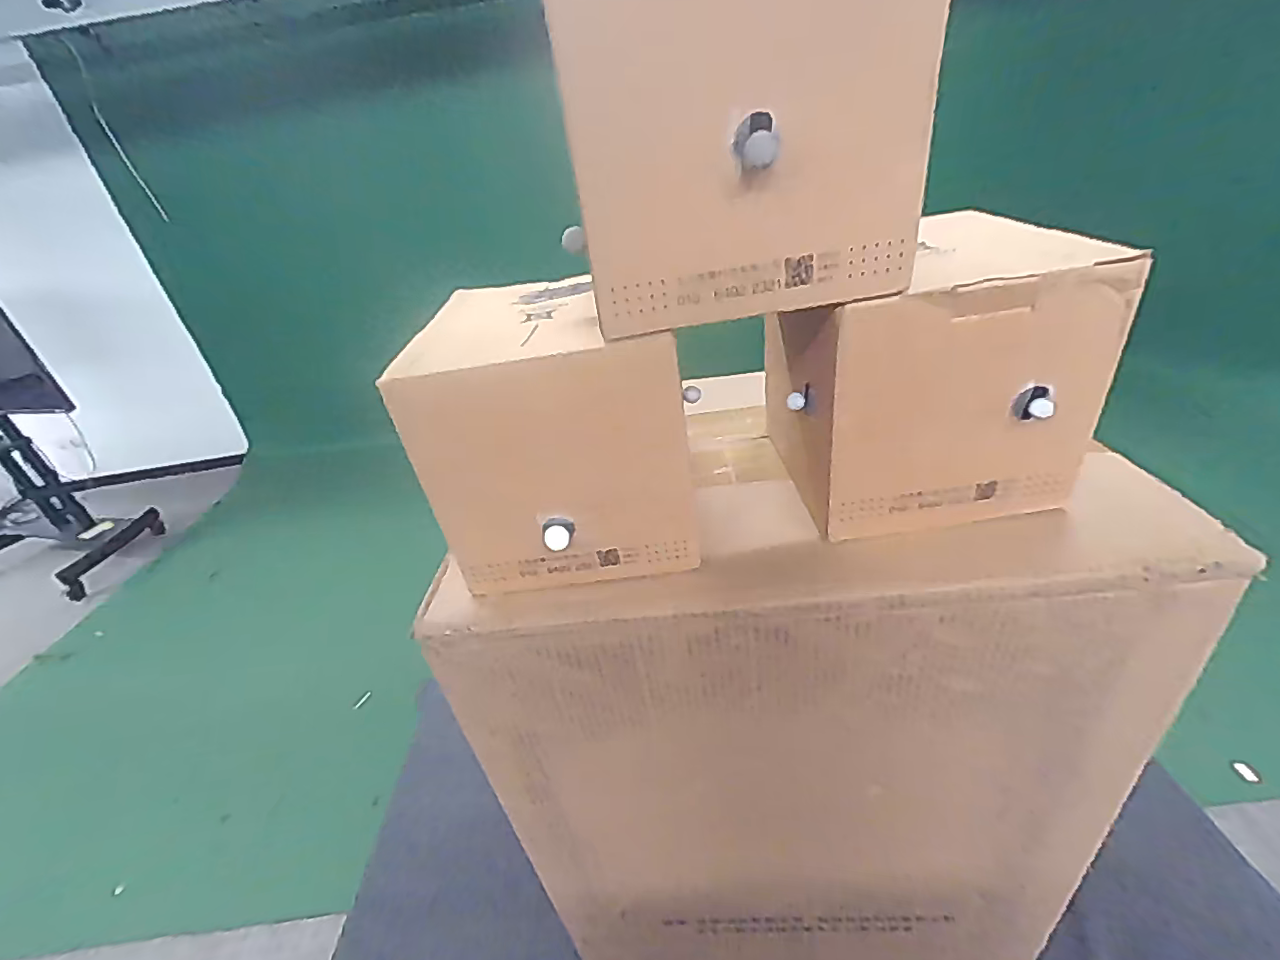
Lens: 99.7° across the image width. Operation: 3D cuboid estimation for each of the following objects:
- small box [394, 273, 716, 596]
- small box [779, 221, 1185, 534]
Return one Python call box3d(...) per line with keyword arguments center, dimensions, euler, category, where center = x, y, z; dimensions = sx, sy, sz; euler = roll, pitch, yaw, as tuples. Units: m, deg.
box3d(center=(-0.038, -0.041, 0.390), dimensions=(0.168, 0.176, 0.179), euler=(-6, 34, 6), category="small box")
box3d(center=(0.206, -0.074, 0.392), dimensions=(0.168, 0.176, 0.179), euler=(-7, 33, 0), category="small box")
